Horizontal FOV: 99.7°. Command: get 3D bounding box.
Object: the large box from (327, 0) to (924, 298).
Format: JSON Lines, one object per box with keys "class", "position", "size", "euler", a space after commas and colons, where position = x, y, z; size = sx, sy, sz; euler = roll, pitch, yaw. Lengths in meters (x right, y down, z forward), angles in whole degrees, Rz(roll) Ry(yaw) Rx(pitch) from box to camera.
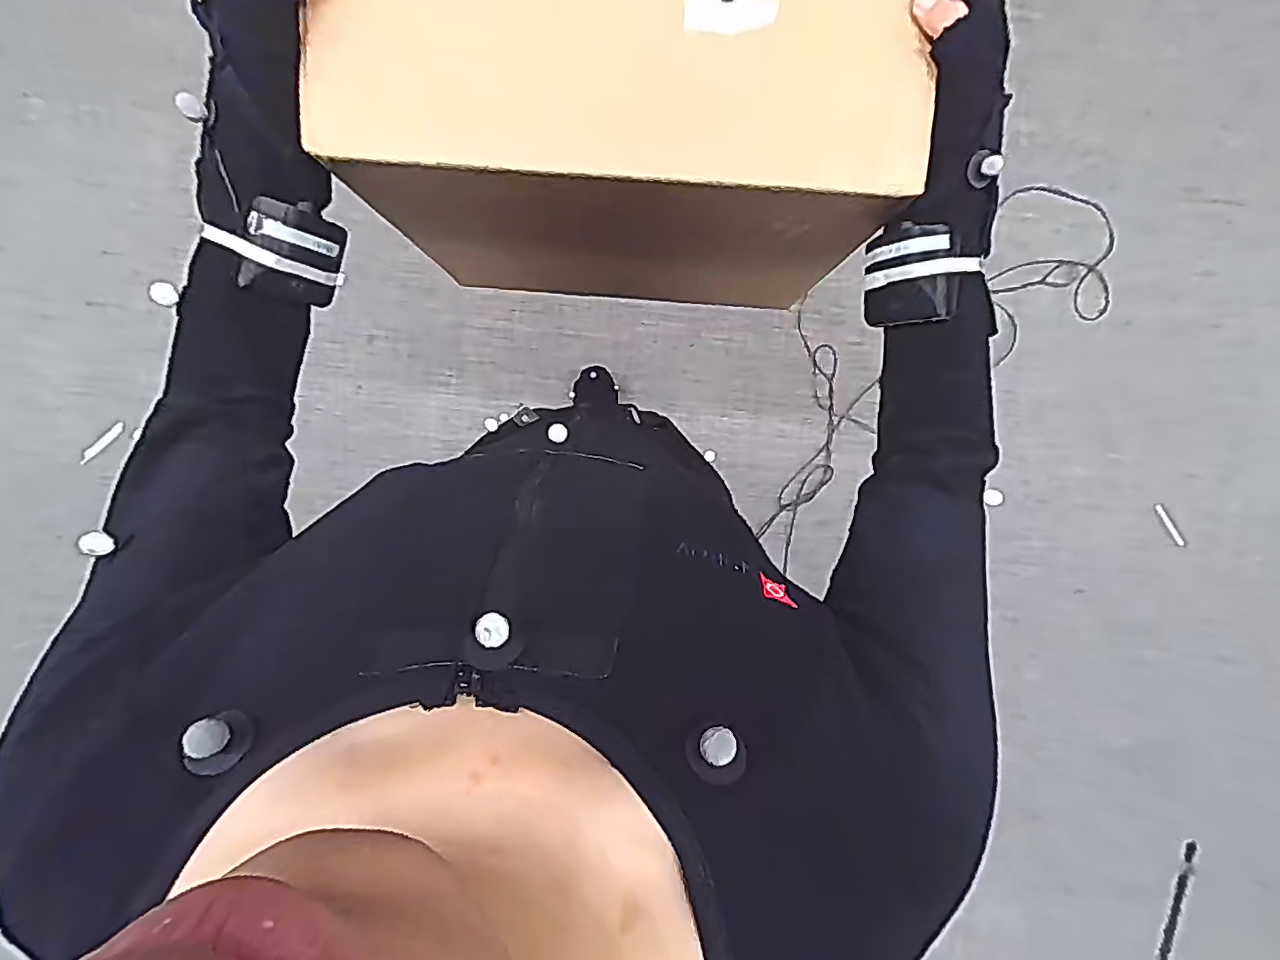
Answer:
{"class": "large box", "position": [-0.008, -0.373, 0.505], "size": [0.408, 0.320, 0.320], "euler": [3, 94, -1]}
